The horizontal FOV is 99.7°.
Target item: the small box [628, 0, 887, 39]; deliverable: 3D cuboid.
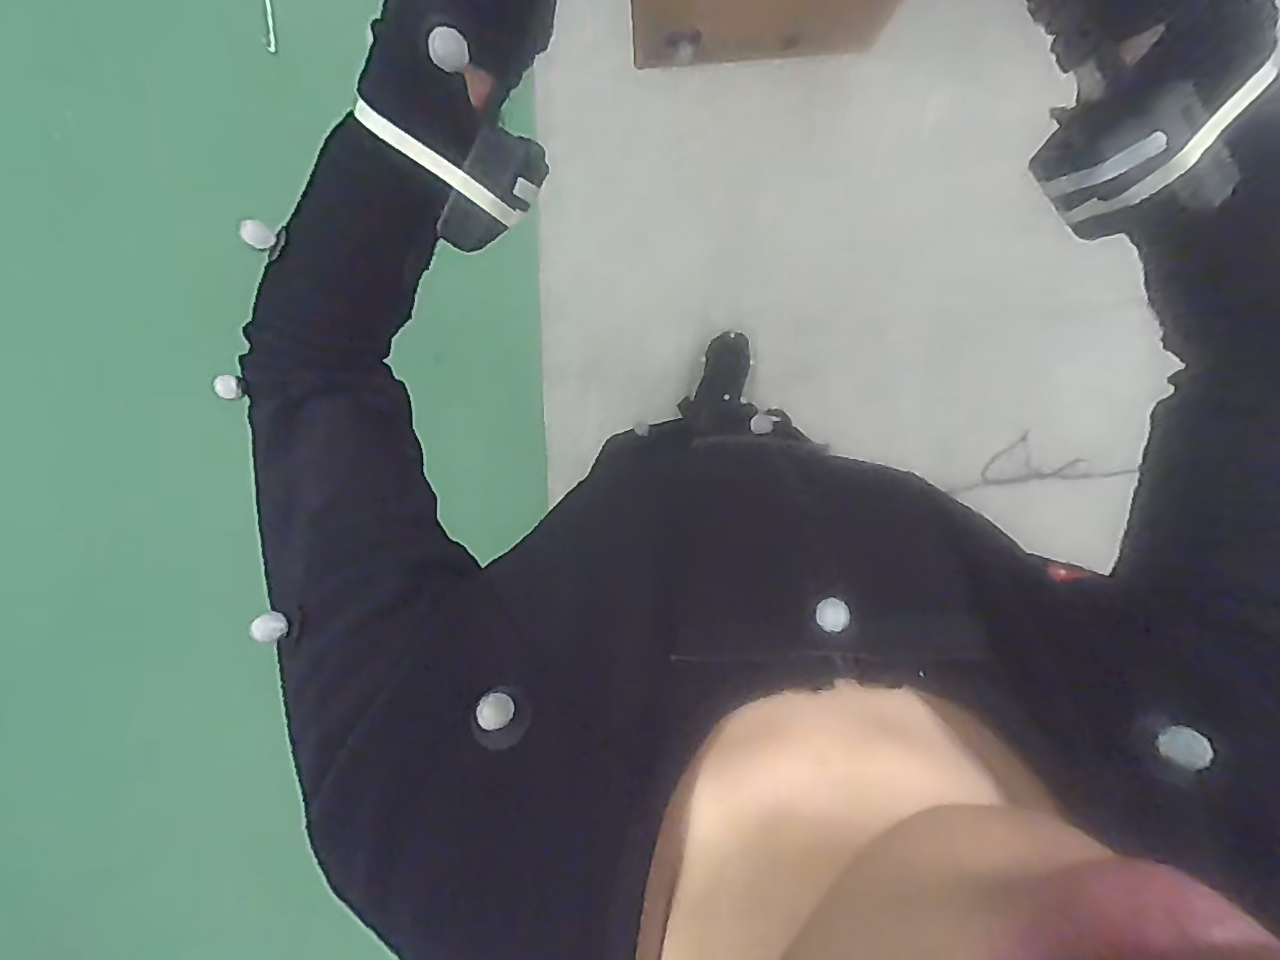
[{"bbox_3d":[0.070,-0.364,0.271,0.168,0.176,0.179,-3,95,1],"label":"small box"}]
